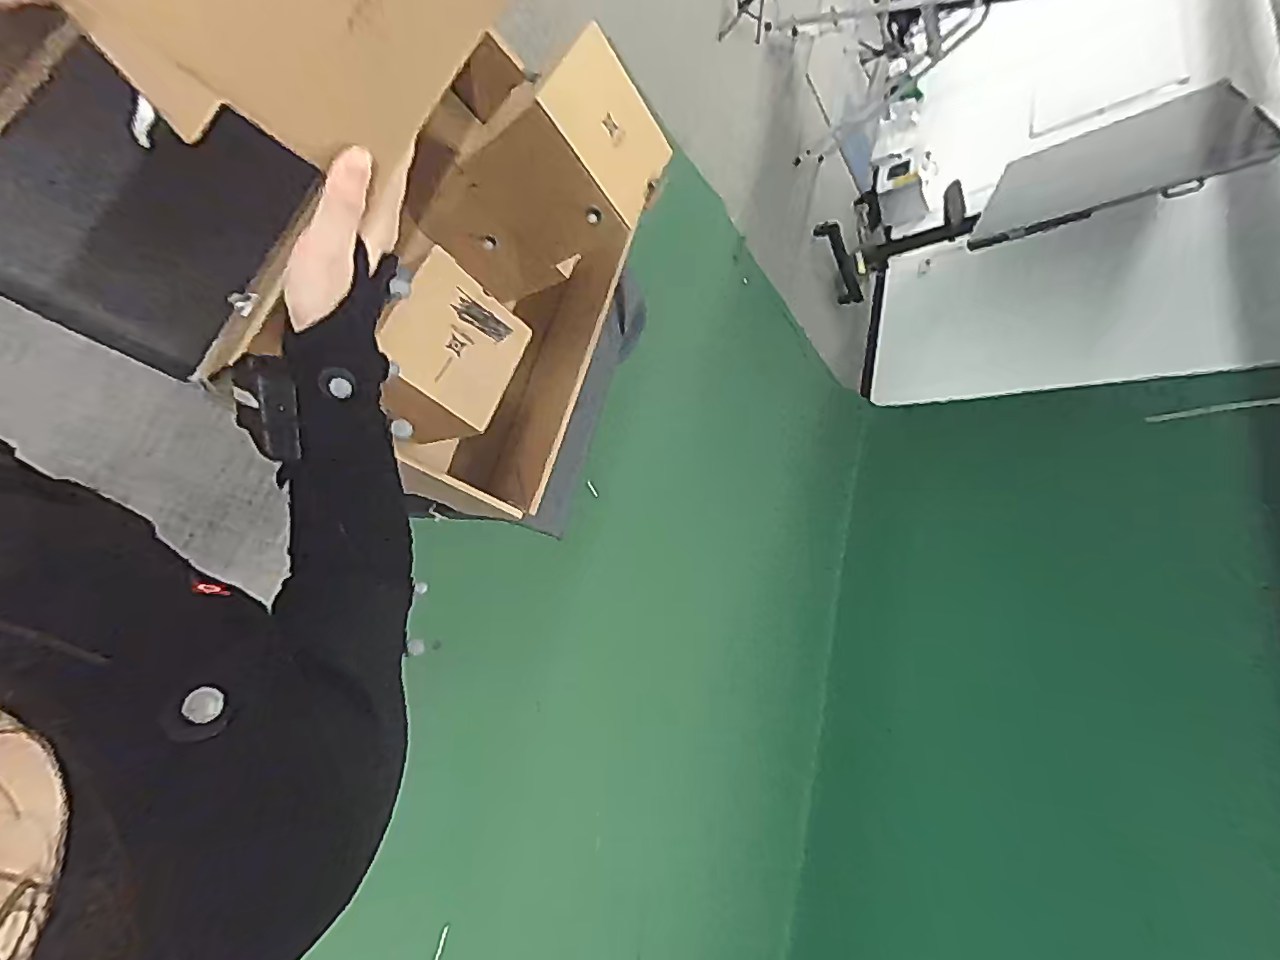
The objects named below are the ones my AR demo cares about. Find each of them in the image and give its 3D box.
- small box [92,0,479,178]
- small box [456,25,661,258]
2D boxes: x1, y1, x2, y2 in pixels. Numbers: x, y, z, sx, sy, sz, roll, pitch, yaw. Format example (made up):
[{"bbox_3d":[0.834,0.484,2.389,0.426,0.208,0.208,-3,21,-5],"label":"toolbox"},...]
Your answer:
[{"bbox_3d":[-0.179,-0.305,0.266,0.179,0.168,0.176,26,37,-44],"label":"small box"},{"bbox_3d":[-0.107,-0.430,0.717,0.179,0.176,0.168,43,59,-40],"label":"small box"}]
